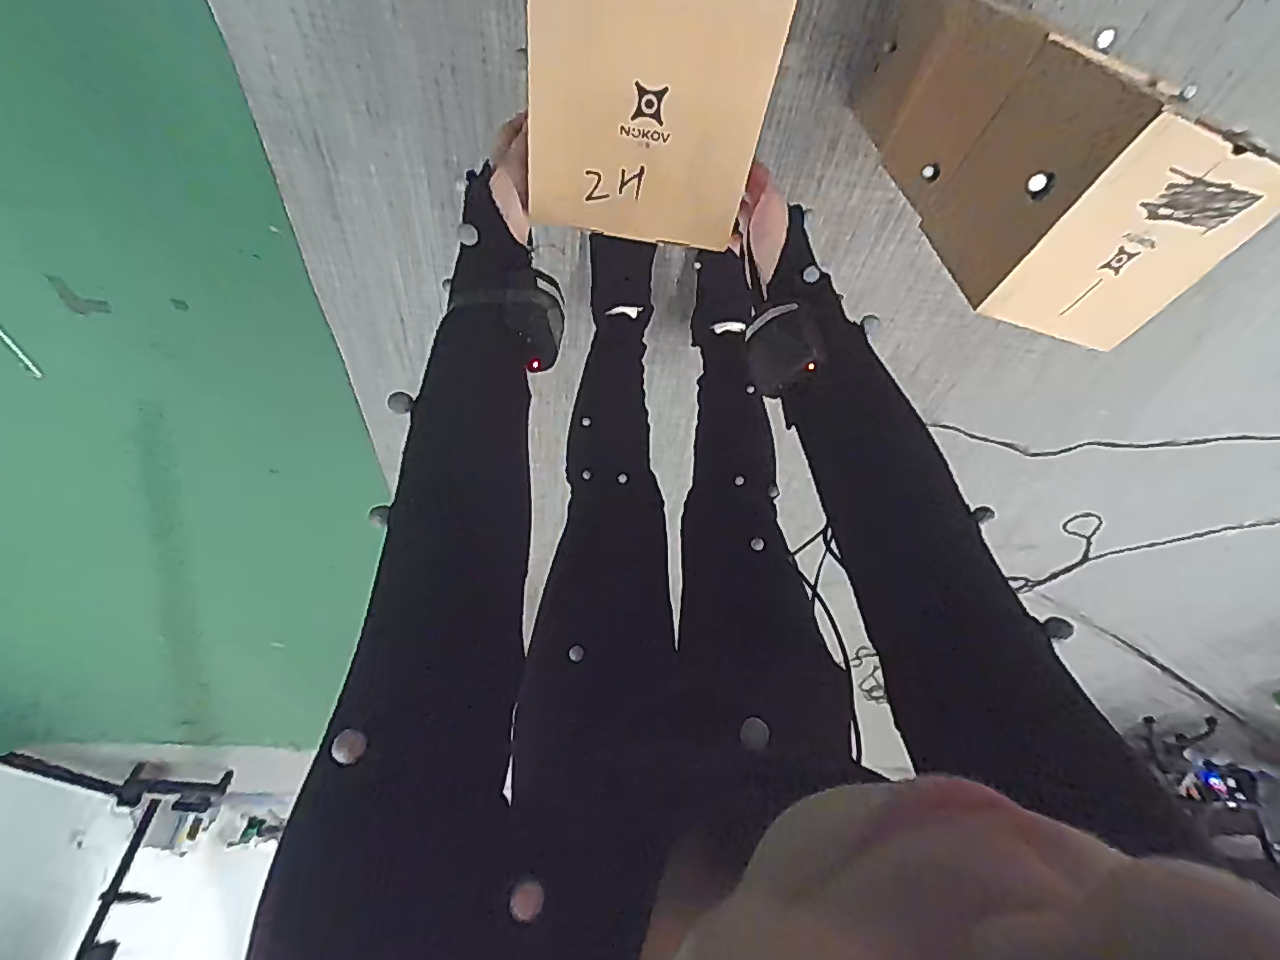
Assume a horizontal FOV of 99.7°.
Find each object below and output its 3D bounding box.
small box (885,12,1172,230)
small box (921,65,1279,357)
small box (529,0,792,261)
[{"bbox_3d":[0.411,-0.387,0.614,0.168,0.176,0.179,10,141,-12],"label":"small box"},{"bbox_3d":[0.409,-0.253,0.518,0.168,0.176,0.179,11,141,-13],"label":"small box"},{"bbox_3d":[0.004,-0.313,0.442,0.168,0.176,0.179,7,140,-6],"label":"small box"}]
